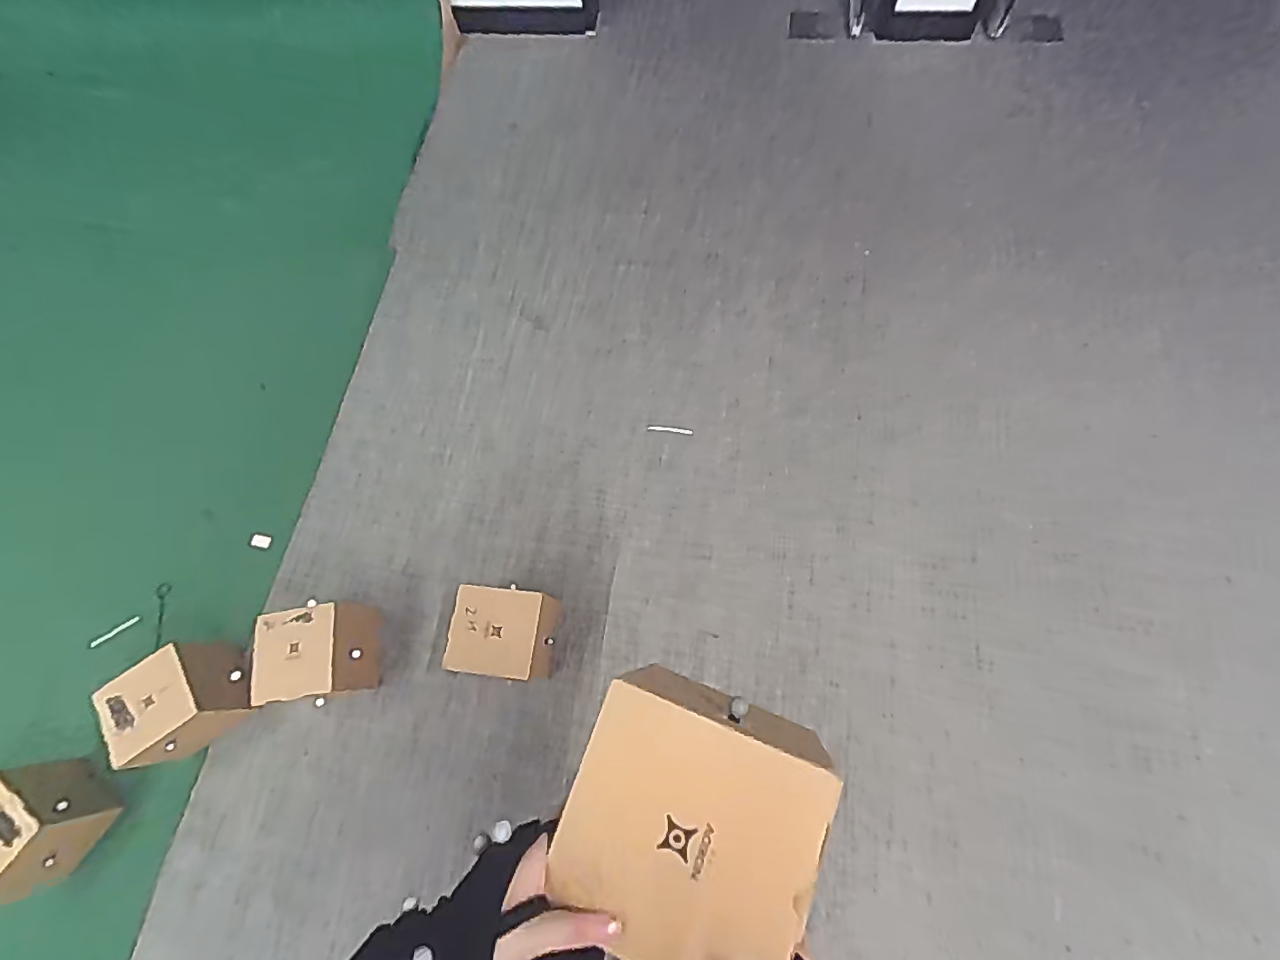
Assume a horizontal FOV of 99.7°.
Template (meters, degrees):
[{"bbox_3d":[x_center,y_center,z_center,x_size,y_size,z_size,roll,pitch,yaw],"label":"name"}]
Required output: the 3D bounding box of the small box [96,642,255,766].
[{"bbox_3d":[-0.959,0.464,1.133,0.179,0.176,0.168,-35,71,-8],"label":"small box"}]

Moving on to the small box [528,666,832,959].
[{"bbox_3d":[0.040,0.269,0.457,0.179,0.176,0.168,19,79,15],"label":"small box"}]

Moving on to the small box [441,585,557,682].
[{"bbox_3d":[-0.281,0.321,1.126,0.179,0.176,0.168,5,71,6],"label":"small box"}]

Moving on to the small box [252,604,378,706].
[{"bbox_3d":[-0.675,0.368,1.143,0.168,0.176,0.179,-10,71,1],"label":"small box"}]
